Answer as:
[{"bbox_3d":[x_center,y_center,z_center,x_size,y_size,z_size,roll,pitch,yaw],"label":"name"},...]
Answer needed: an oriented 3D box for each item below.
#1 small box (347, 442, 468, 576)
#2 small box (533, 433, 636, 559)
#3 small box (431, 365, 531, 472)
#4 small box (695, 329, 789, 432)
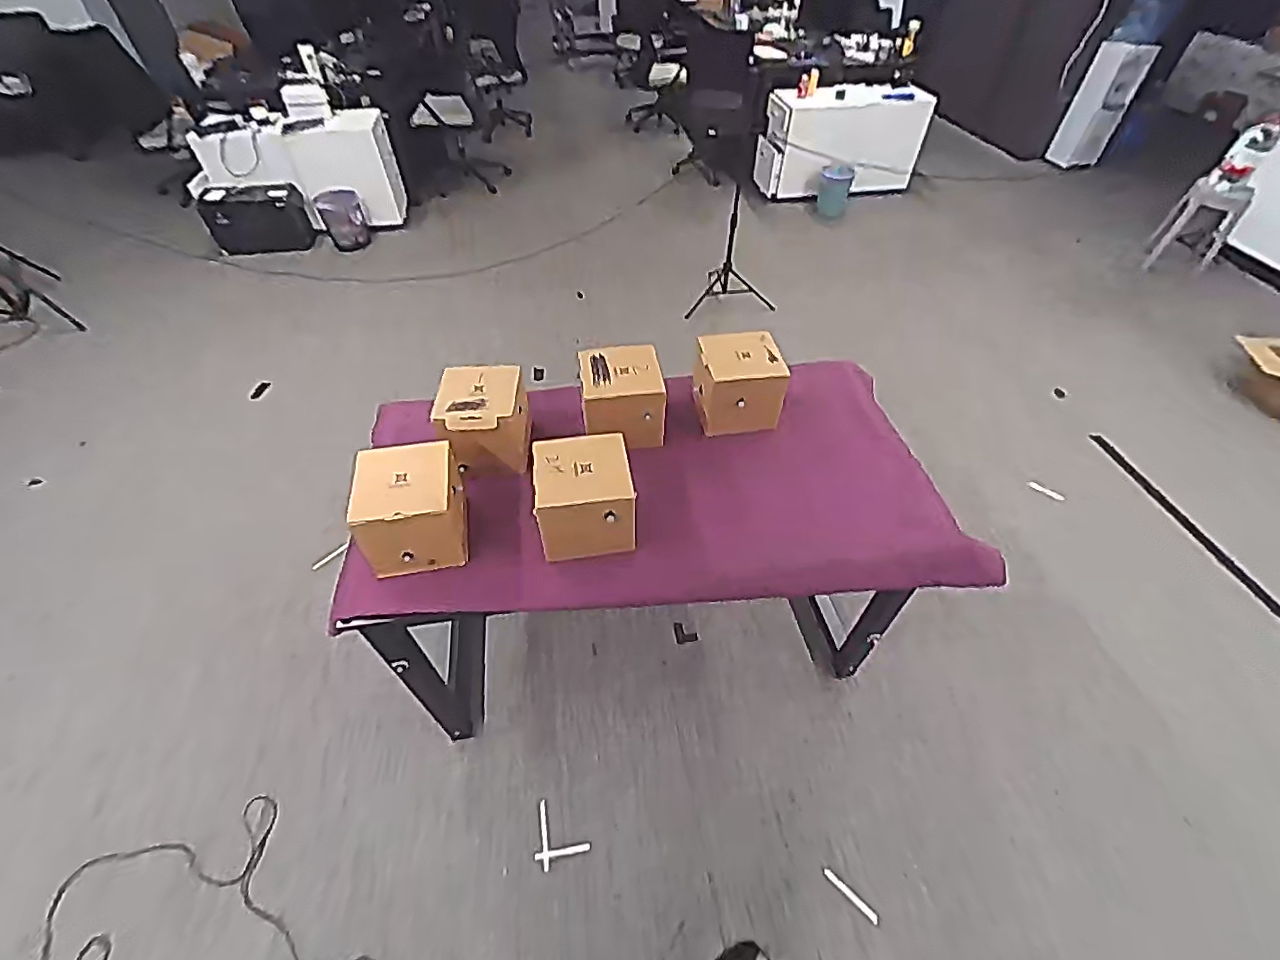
[{"bbox_3d":[-0.426,0.054,1.017,0.168,0.176,0.179,-9,49,-10],"label":"small box"},{"bbox_3d":[-0.104,0.033,1.036,0.179,0.176,0.168,-7,49,-6],"label":"small box"},{"bbox_3d":[-0.337,-0.129,1.181,0.168,0.176,0.179,-2,49,-3],"label":"small box"},{"bbox_3d":[0.228,-0.229,1.266,0.179,0.176,0.168,-7,51,-5],"label":"small box"}]
